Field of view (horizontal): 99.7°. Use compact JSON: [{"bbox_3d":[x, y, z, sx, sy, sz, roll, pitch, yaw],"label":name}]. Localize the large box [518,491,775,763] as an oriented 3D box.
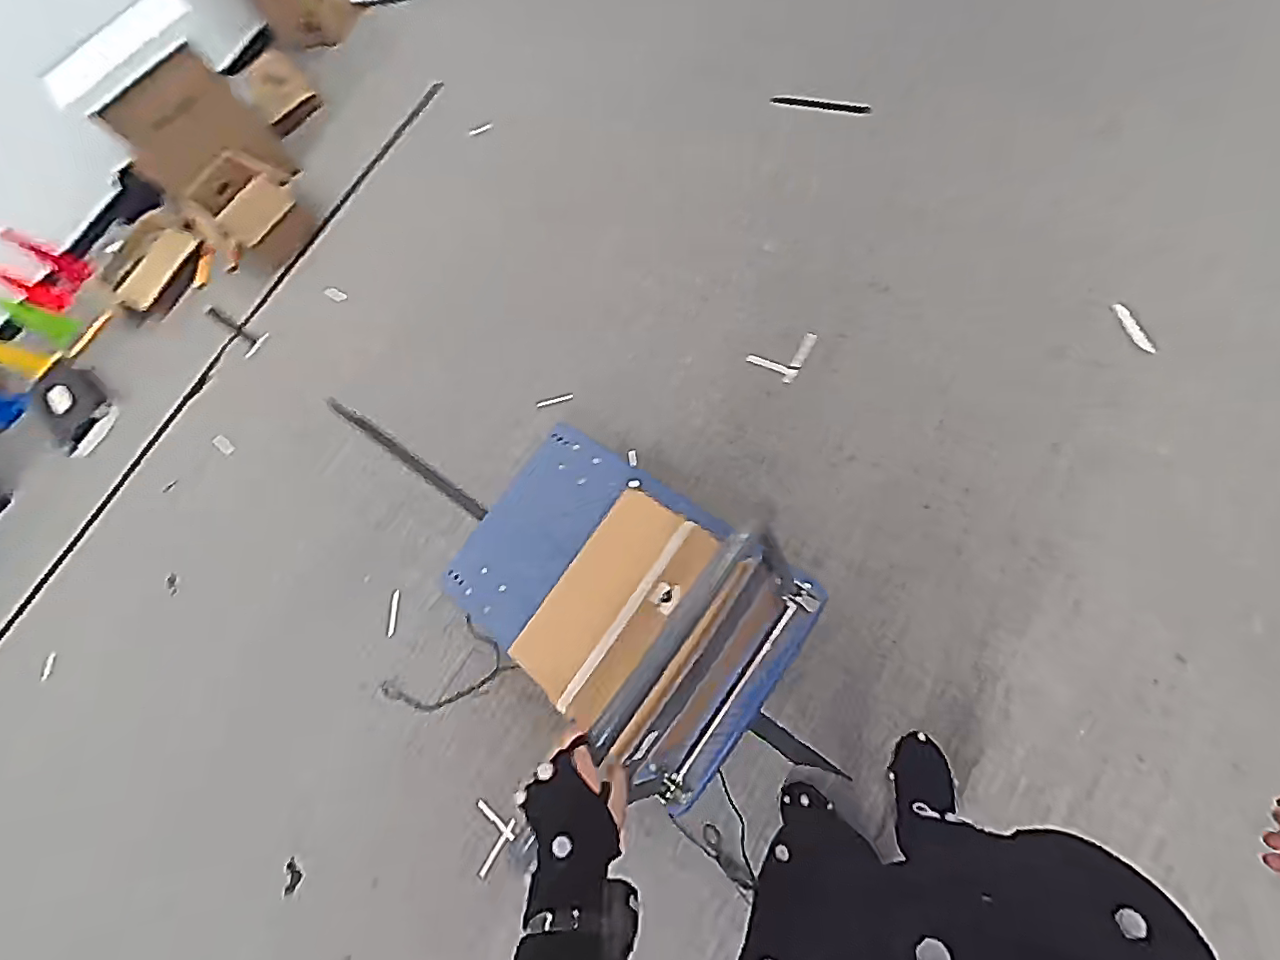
[{"bbox_3d":[0.033,0.306,1.130,0.320,0.320,0.408,33,82,27],"label":"large box"}]
